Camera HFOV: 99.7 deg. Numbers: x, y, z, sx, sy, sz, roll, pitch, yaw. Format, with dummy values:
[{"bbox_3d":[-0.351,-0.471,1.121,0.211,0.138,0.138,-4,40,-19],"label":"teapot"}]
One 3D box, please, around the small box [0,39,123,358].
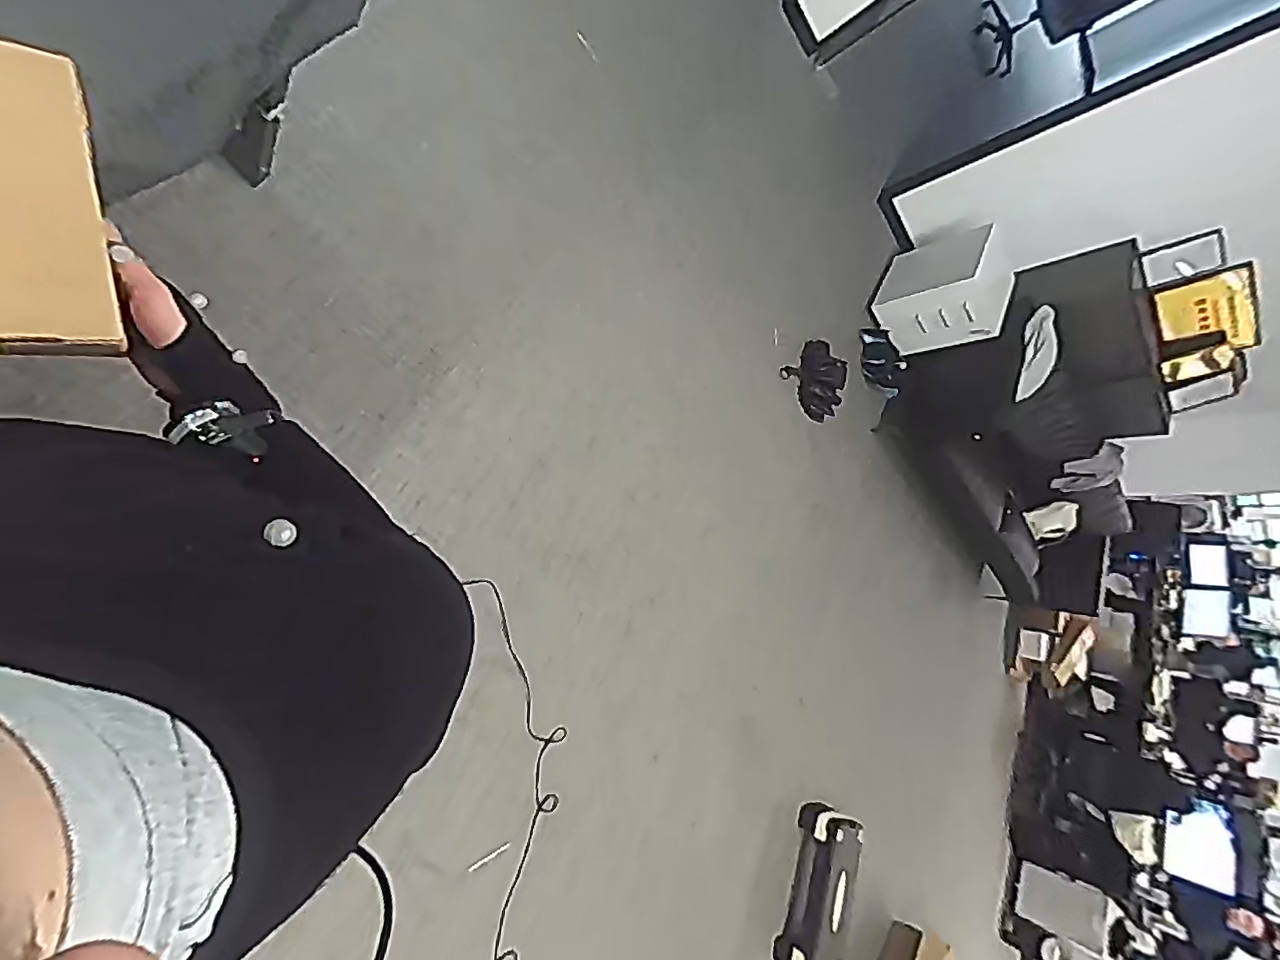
[{"bbox_3d":[-0.458,-0.170,0.347,0.168,0.176,0.179,-11,105,-43],"label":"small box"}]
